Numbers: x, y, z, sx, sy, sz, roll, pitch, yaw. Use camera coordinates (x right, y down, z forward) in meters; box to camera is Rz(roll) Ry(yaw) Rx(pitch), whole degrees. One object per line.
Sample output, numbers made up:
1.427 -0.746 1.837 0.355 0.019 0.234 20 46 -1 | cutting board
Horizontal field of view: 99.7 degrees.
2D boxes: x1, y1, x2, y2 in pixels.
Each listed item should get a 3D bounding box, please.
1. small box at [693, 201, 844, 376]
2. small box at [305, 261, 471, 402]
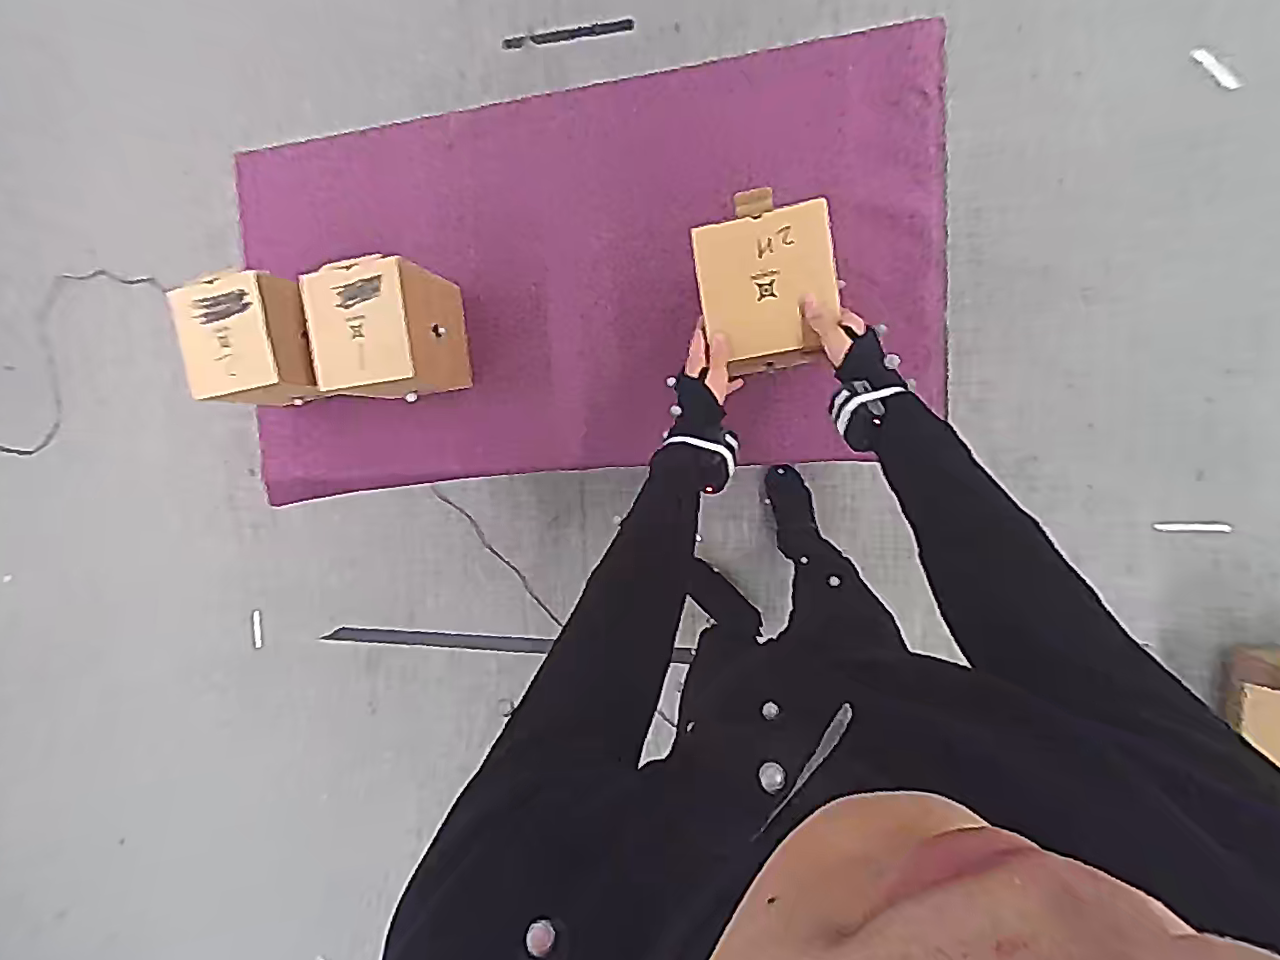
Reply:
0.174 -0.243 0.739 0.168 0.176 0.179 -8 93 13 | small box
-0.392 -0.226 0.867 0.168 0.176 0.179 -6 94 13 | small box
